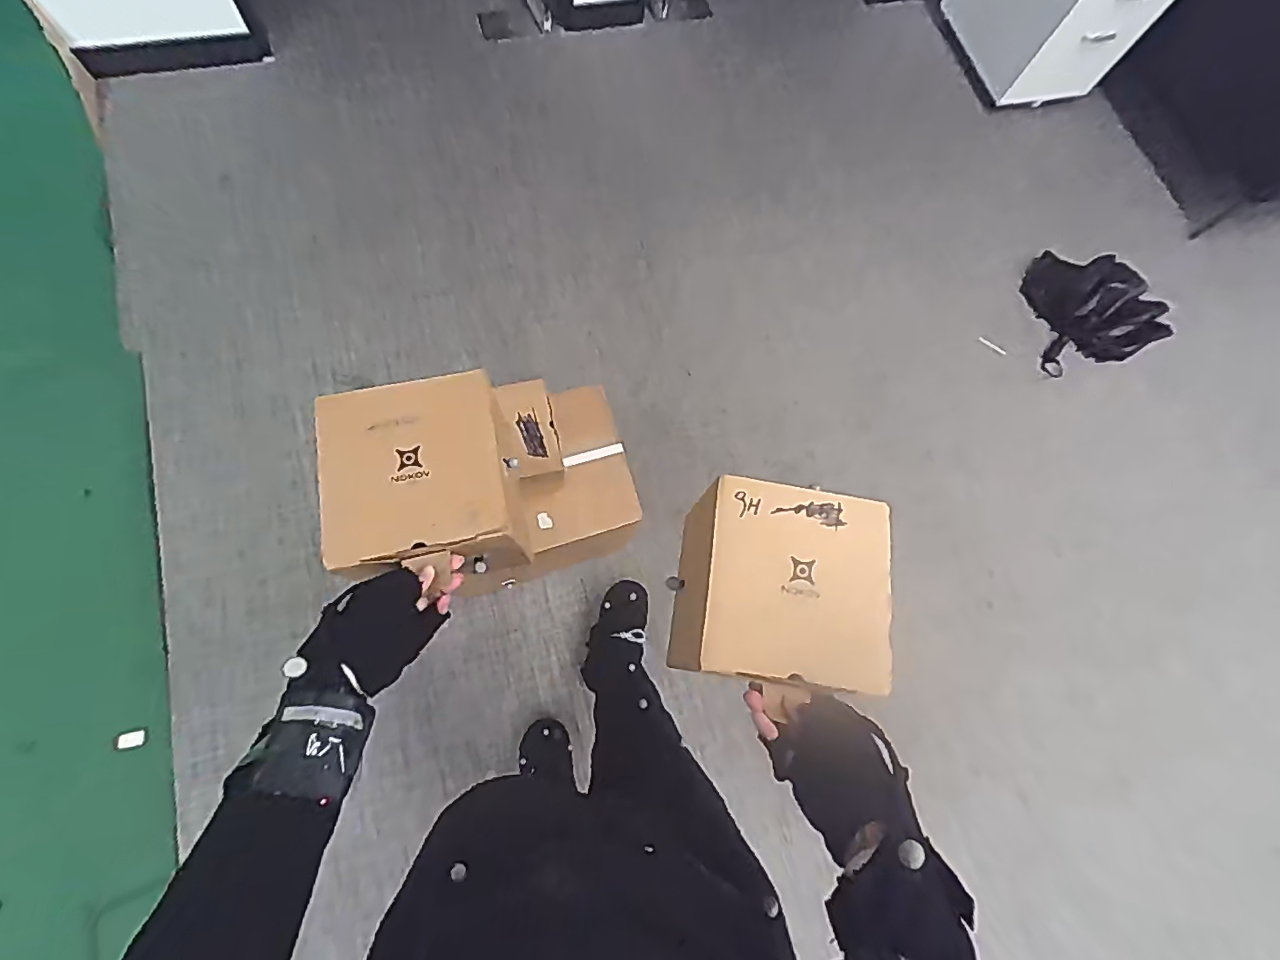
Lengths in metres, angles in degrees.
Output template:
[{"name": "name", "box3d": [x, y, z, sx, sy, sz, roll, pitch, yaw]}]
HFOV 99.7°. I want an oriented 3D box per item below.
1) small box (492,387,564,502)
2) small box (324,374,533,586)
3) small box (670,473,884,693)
[{"name": "small box", "box3d": [-0.238, -0.053, 0.976, 0.179, 0.176, 0.168, -9, 78, -11]}, {"name": "small box", "box3d": [-0.220, 0.012, 0.596, 0.168, 0.176, 0.179, -12, 70, -8]}, {"name": "small box", "box3d": [0.131, 0.112, 0.562, 0.168, 0.176, 0.179, 10, 71, -4]}]
